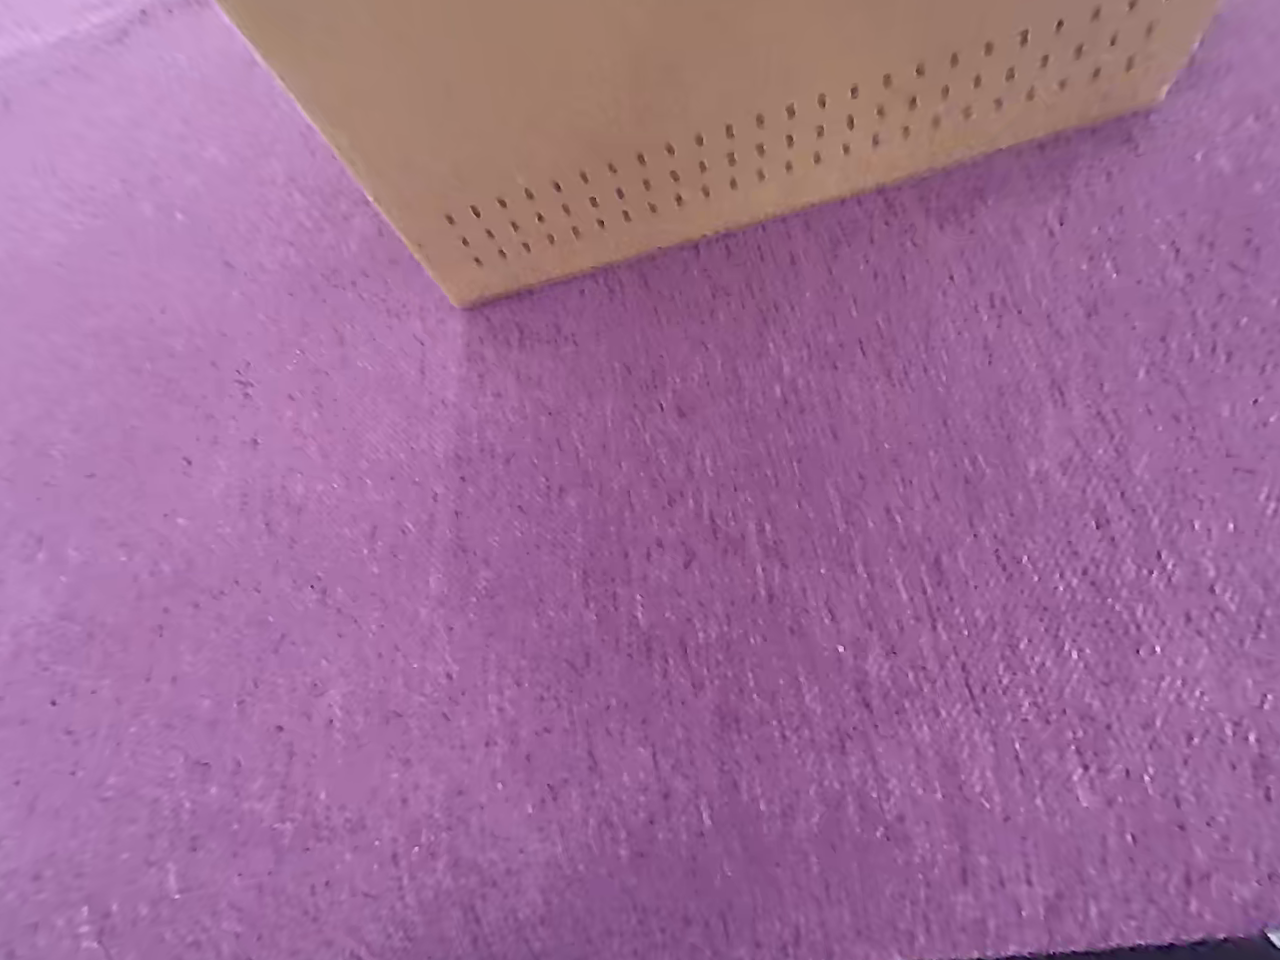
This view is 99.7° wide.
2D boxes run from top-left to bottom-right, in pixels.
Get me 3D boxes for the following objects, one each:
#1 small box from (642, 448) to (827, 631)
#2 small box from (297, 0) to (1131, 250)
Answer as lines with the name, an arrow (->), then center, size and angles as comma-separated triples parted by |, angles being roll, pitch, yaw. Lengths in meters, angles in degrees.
small box -> 0.109, 0.082, 0.652 | 0.179, 0.176, 0.168 | -10, 68, 6
small box -> 0.009, -0.178, 0.096 | 0.179, 0.176, 0.168 | -13, 65, 8
